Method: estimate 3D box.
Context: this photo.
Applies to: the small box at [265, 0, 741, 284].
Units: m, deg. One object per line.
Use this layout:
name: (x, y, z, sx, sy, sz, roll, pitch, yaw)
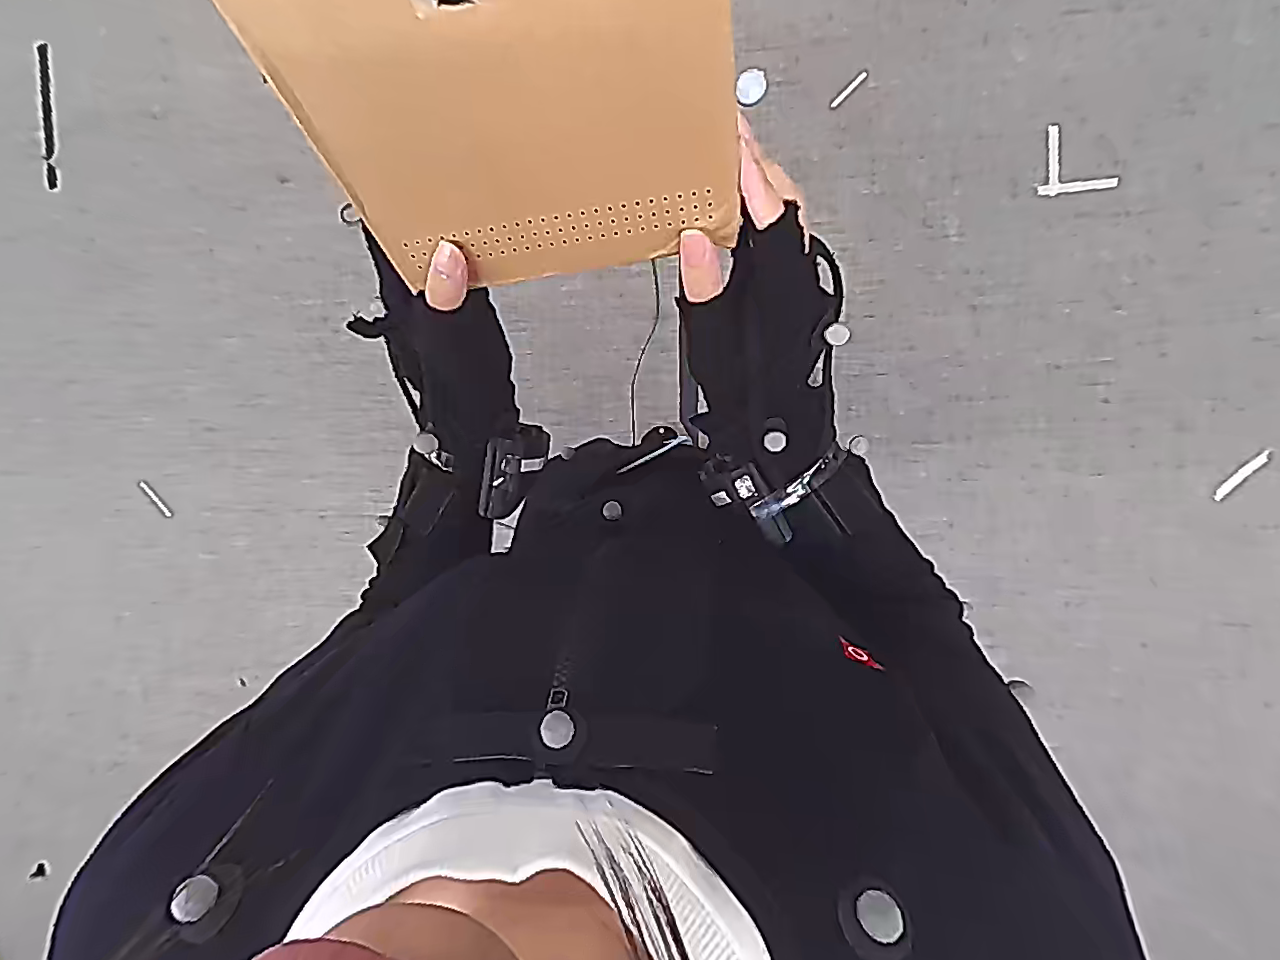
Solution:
small box: (-0.047, -0.219, 0.265, 0.179, 0.176, 0.168, -5, 60, 10)
